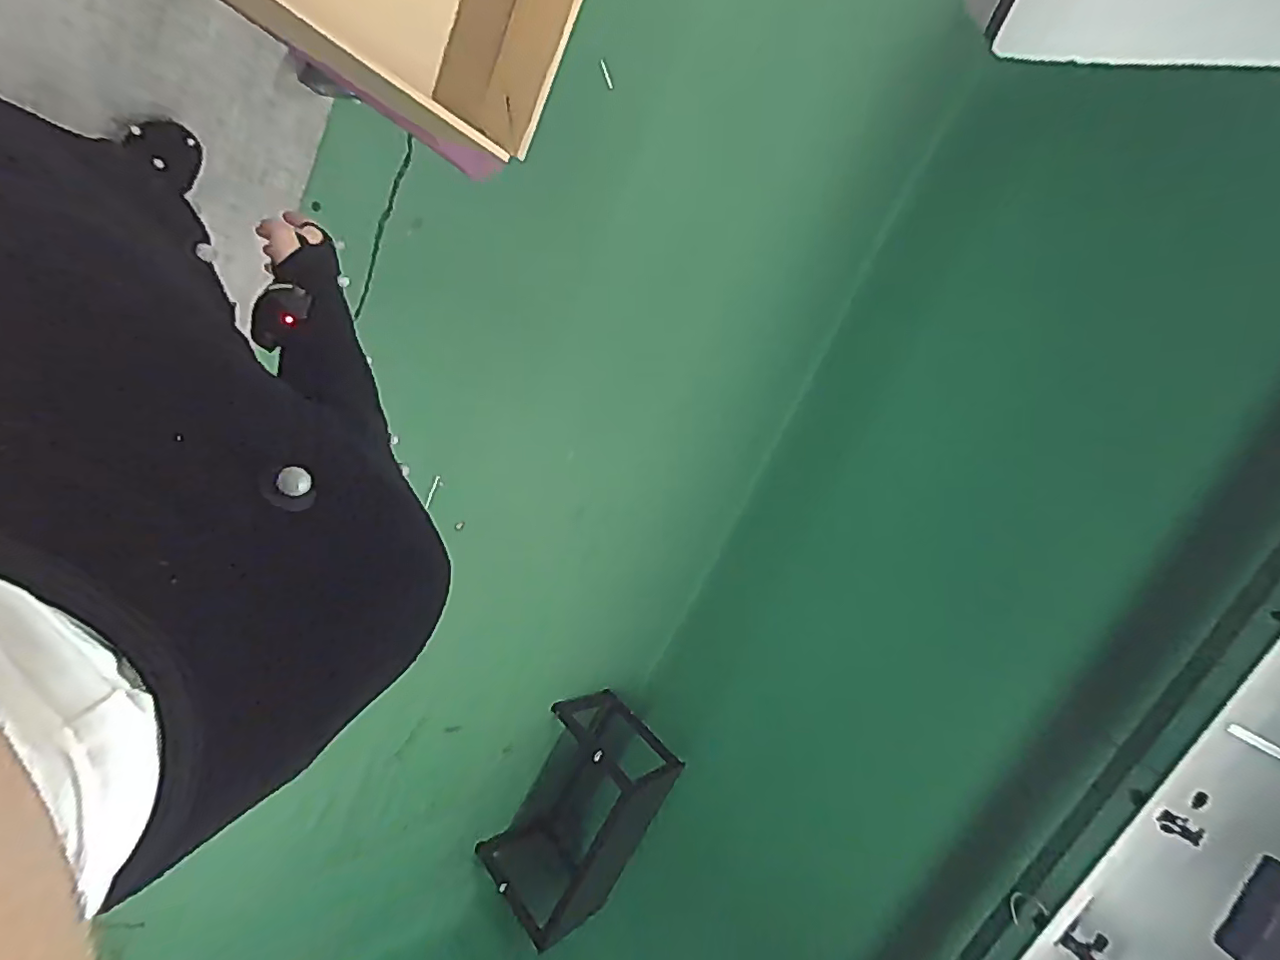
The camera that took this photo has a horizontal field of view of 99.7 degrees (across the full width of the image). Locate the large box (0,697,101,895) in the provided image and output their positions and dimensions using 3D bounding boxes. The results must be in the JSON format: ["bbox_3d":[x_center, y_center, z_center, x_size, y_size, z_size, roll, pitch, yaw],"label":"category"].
[{"bbox_3d":[-1.662,0.826,1.304,0.408,0.320,0.320,-30,139,-35],"label":"large box"}]
